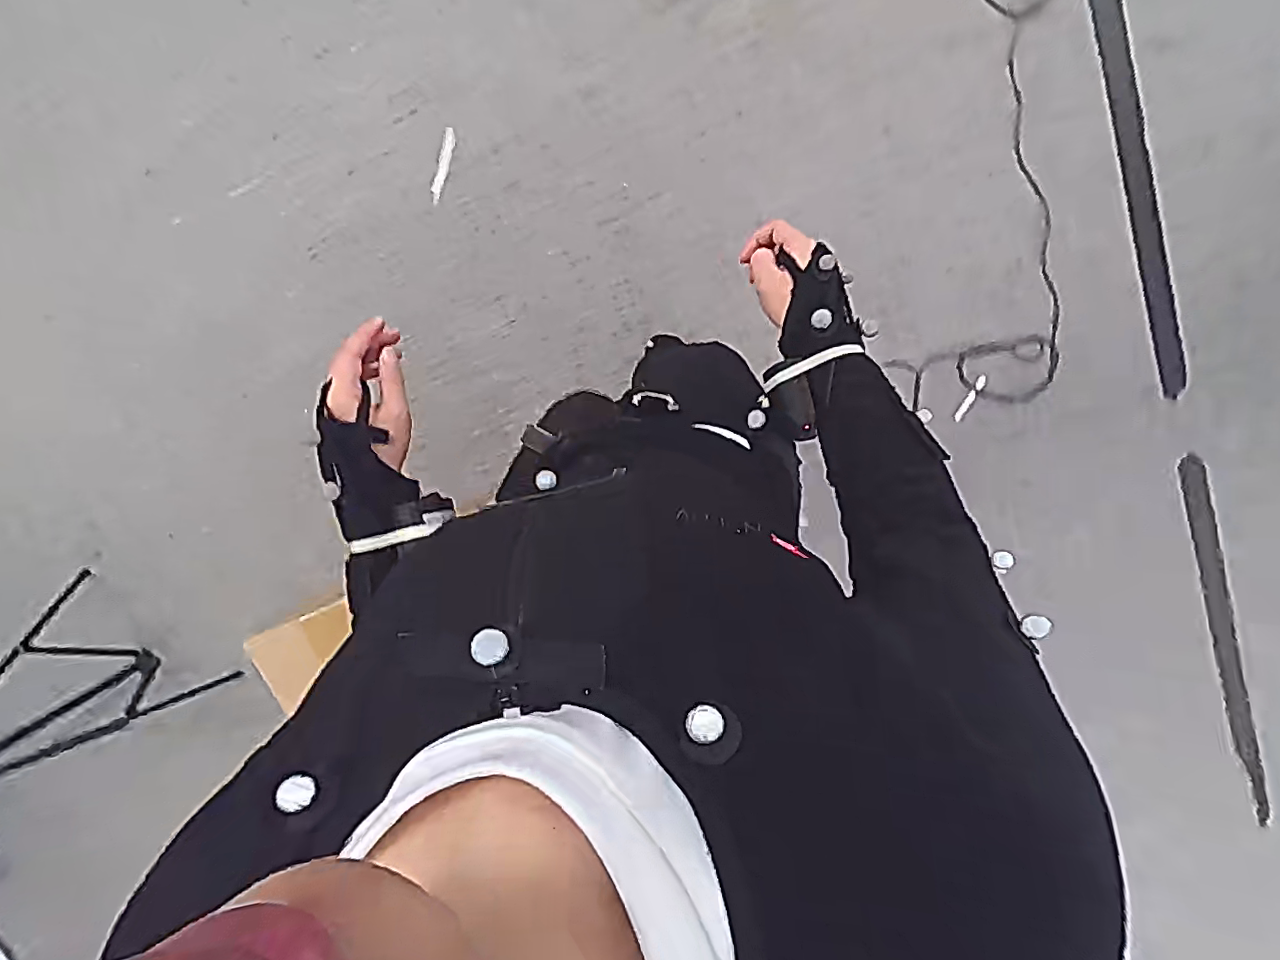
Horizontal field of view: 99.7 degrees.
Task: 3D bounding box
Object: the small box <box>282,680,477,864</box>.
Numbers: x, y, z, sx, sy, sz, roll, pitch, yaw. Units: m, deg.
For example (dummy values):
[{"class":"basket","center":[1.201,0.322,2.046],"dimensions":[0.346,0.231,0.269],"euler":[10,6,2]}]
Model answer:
[{"class":"small box","center":[-0.379,0.428,0.820],"dimensions":[0.168,0.176,0.179],"euler":[-19,103,12]}]
